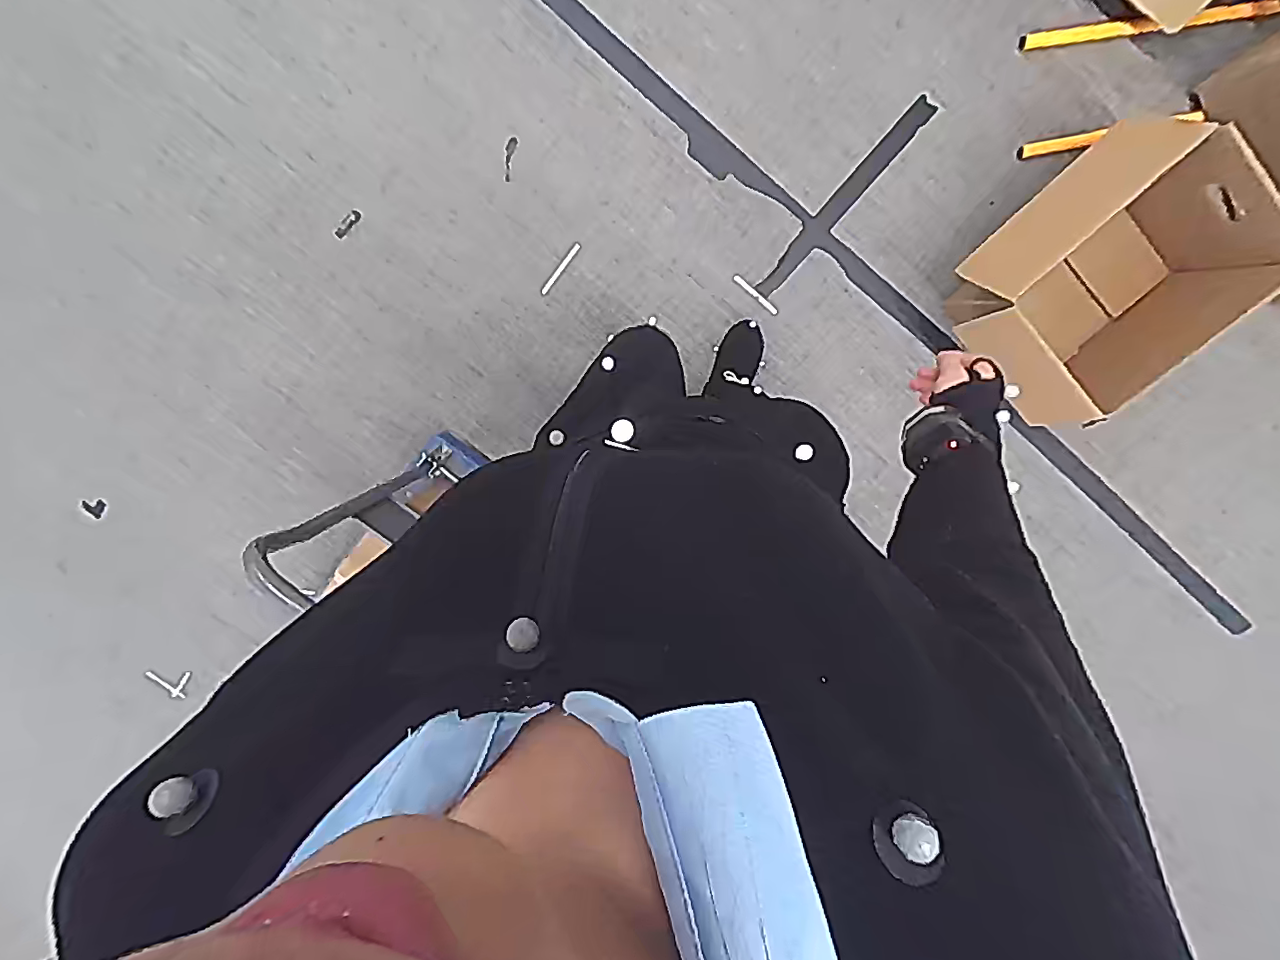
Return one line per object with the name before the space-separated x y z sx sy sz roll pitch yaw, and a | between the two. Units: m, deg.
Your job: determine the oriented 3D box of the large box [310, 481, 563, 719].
large box | -0.458 0.271 1.299 0.408 0.320 0.320 41 106 -6
